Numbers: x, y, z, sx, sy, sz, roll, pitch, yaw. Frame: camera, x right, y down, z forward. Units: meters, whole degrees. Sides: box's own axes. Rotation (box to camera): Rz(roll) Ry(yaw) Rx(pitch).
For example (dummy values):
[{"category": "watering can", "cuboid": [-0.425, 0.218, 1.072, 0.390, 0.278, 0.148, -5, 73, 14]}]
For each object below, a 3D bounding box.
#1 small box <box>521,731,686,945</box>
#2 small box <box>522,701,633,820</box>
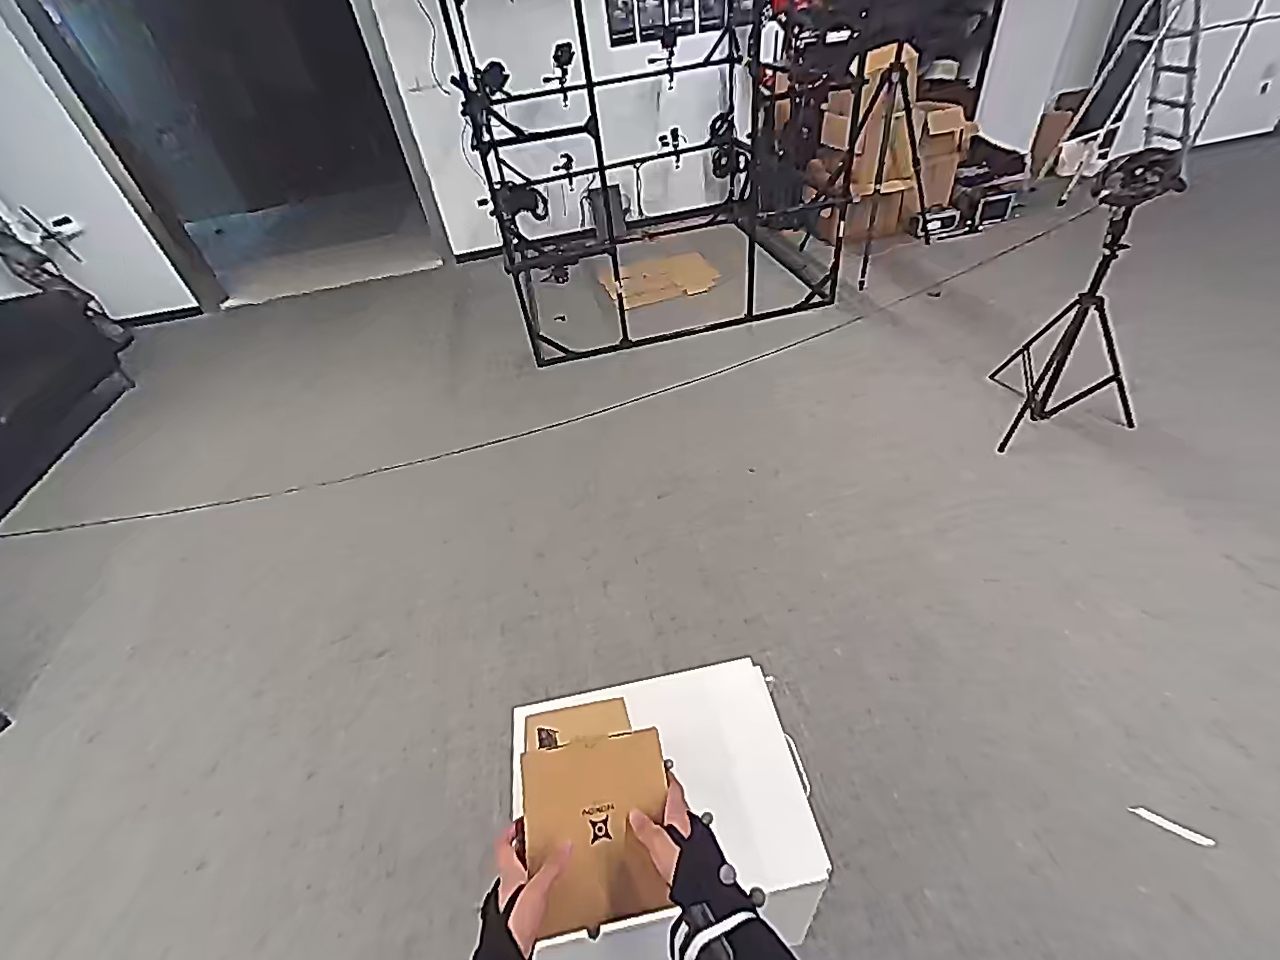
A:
[{"category": "small box", "cuboid": [-0.047, 0.426, 0.658, 0.168, 0.176, 0.179, -7, 55, -8]}, {"category": "small box", "cuboid": [-0.094, 0.510, 0.928, 0.179, 0.176, 0.168, -9, 41, -2]}]
